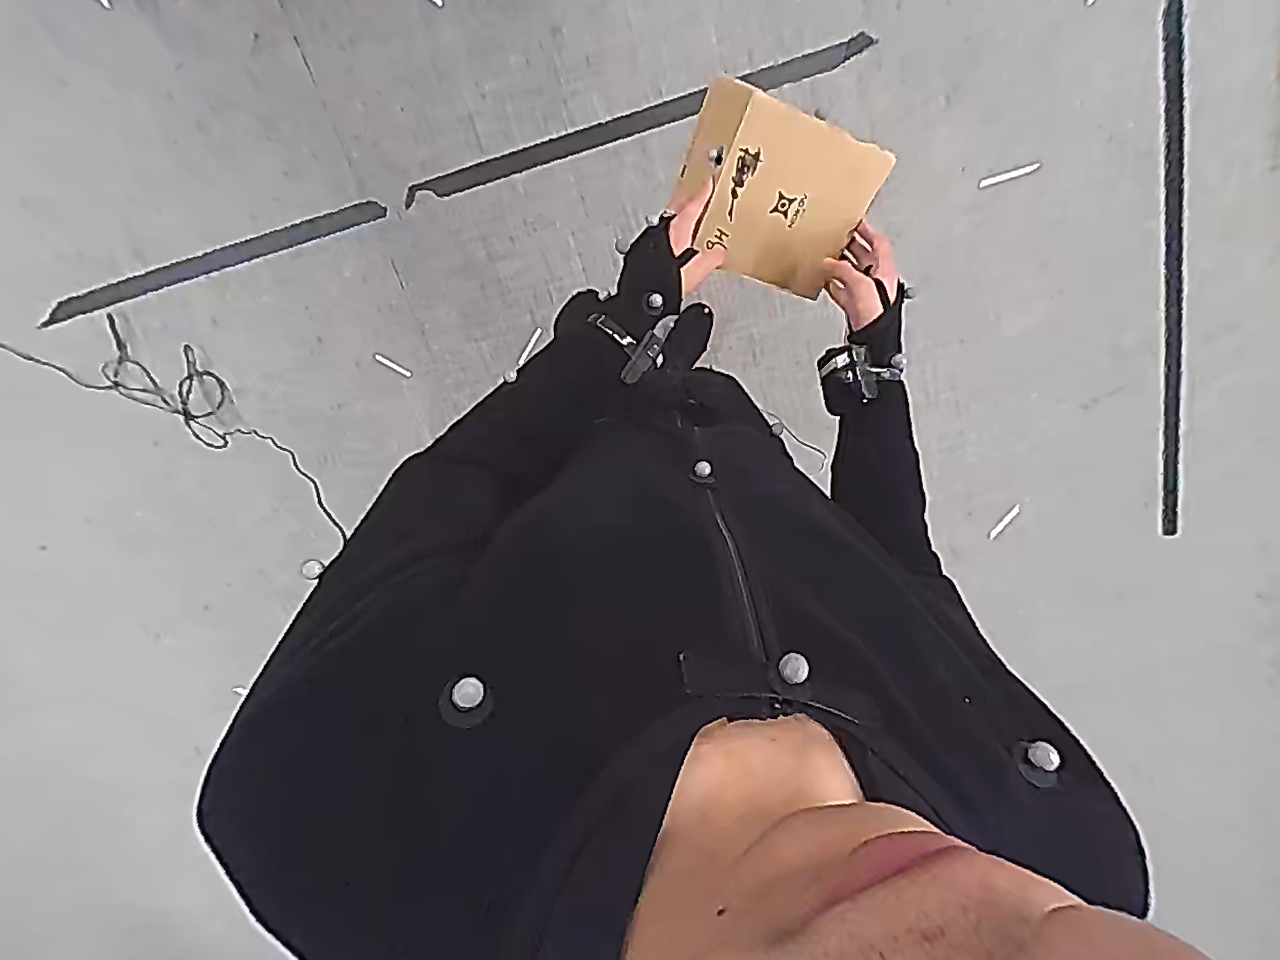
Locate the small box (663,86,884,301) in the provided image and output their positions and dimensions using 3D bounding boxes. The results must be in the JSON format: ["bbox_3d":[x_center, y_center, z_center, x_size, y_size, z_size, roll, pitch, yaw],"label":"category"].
[{"bbox_3d":[0.145,-0.348,0.655,0.179,0.176,0.168,11,129,-18],"label":"small box"}]
